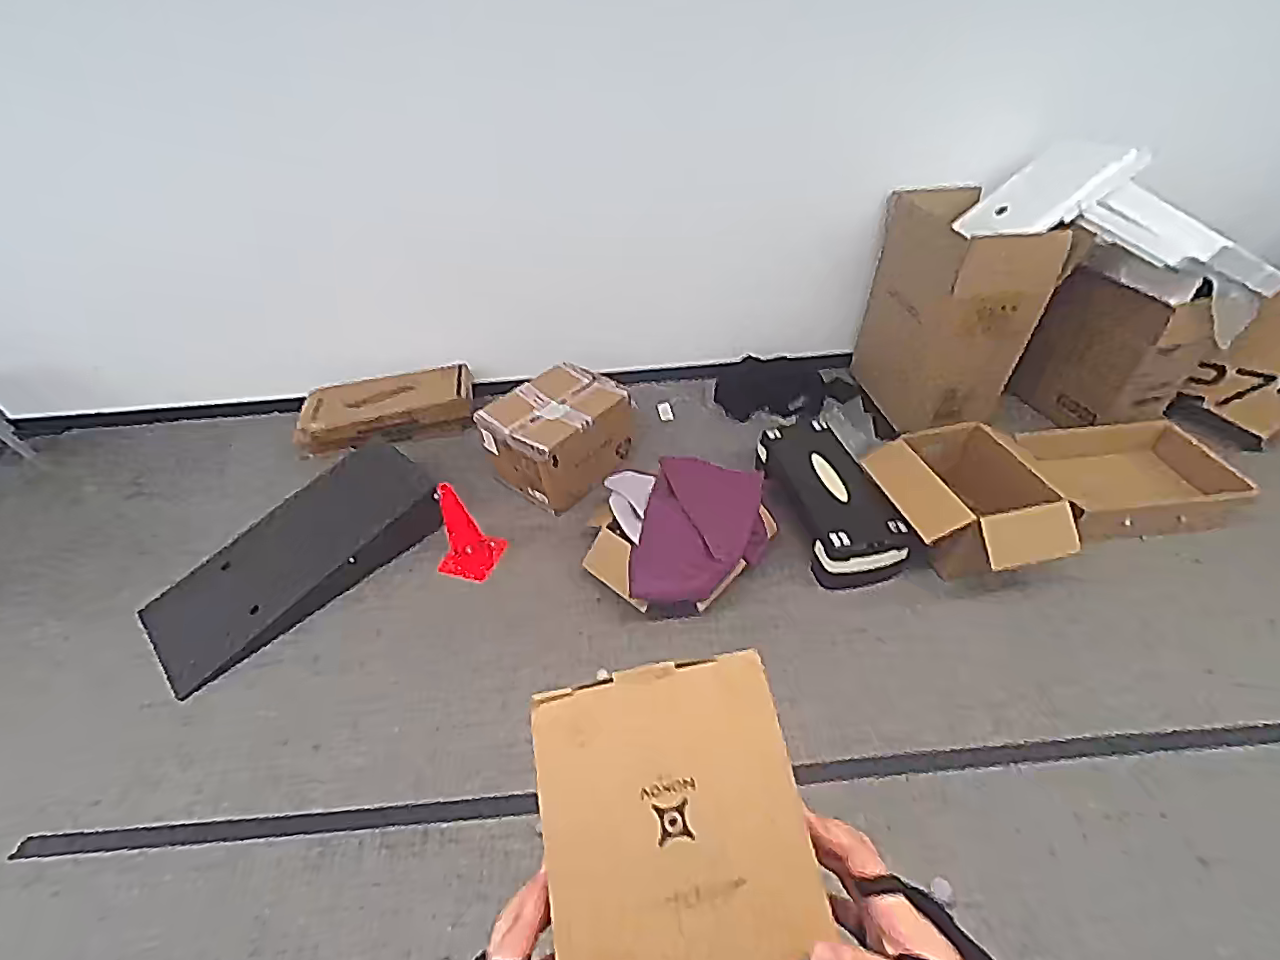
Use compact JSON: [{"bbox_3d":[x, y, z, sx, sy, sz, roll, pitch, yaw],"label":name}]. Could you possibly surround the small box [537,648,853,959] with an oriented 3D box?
[{"bbox_3d":[0.027,0.238,0.404,0.168,0.176,0.179,-11,67,-2],"label":"small box"}]
